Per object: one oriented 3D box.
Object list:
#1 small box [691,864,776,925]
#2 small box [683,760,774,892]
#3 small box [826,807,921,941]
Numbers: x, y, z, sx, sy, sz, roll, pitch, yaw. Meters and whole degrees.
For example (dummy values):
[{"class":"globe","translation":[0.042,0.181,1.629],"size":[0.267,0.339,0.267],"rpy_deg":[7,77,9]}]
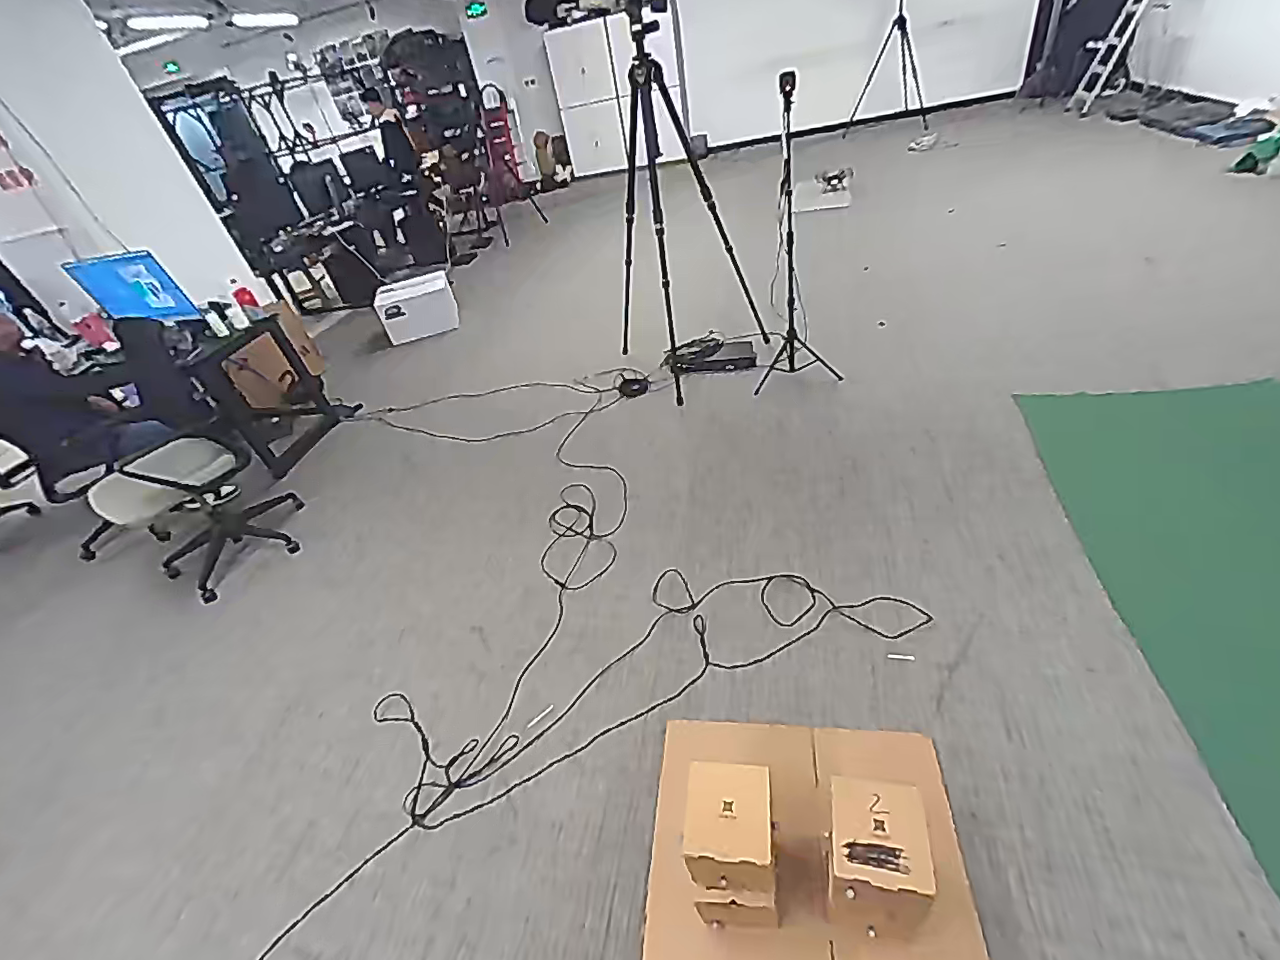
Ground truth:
[{"class":"small box","translation":[0.209,0.852,1.194],"size":[0.168,0.176,0.179],"rpy_deg":[-5,39,12]},{"class":"small box","translation":[0.187,0.709,1.113],"size":[0.168,0.176,0.179],"rpy_deg":[-2,39,14]},{"class":"small box","translation":[0.482,0.829,1.142],"size":[0.168,0.176,0.179],"rpy_deg":[-1,41,18]}]
